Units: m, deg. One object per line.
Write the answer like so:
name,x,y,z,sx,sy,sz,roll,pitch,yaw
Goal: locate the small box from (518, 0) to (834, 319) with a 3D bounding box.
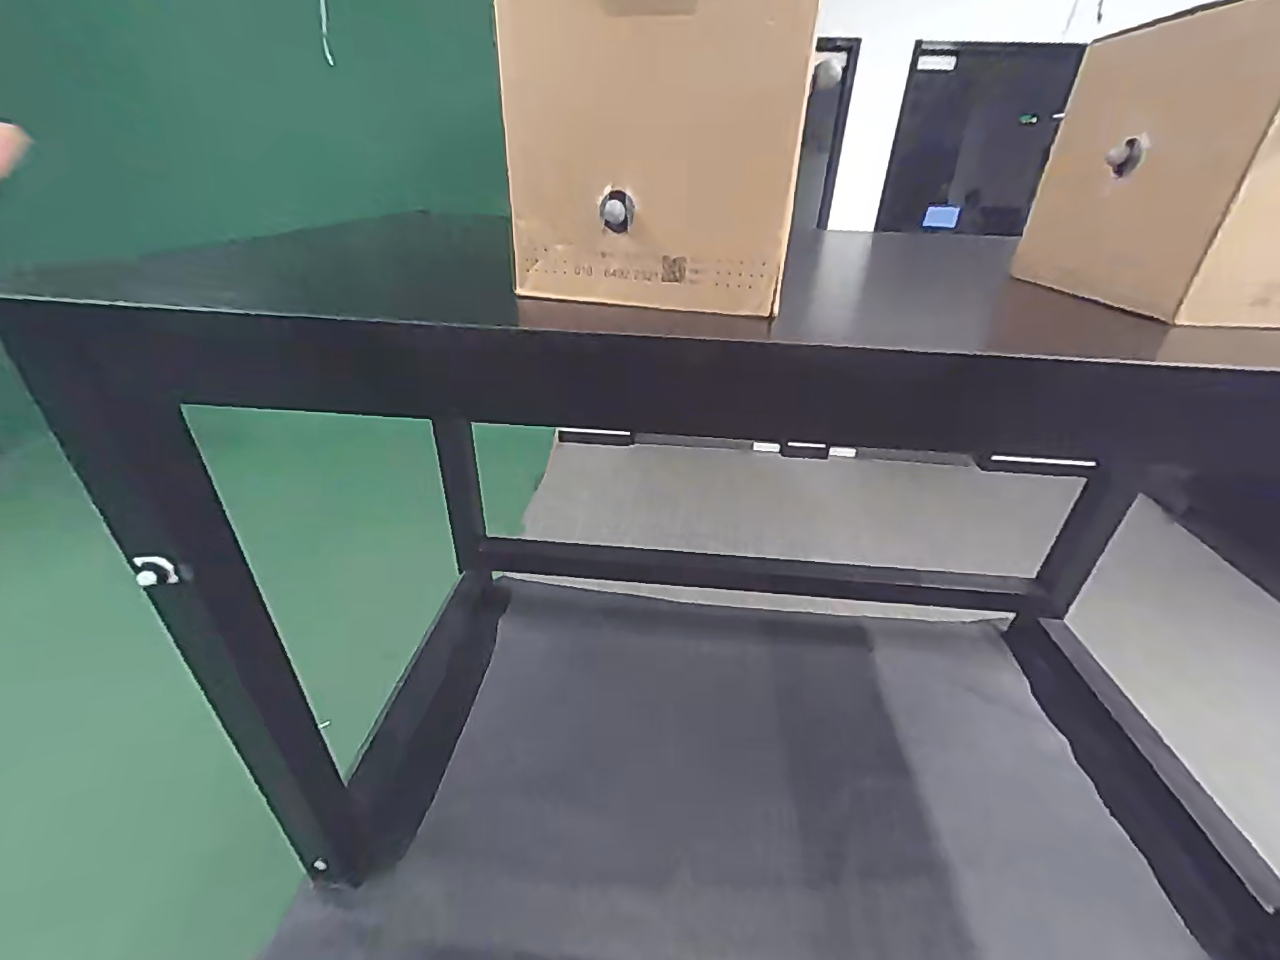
small box,0.028,-0.220,0.369,0.168,0.176,0.179,9,31,11
